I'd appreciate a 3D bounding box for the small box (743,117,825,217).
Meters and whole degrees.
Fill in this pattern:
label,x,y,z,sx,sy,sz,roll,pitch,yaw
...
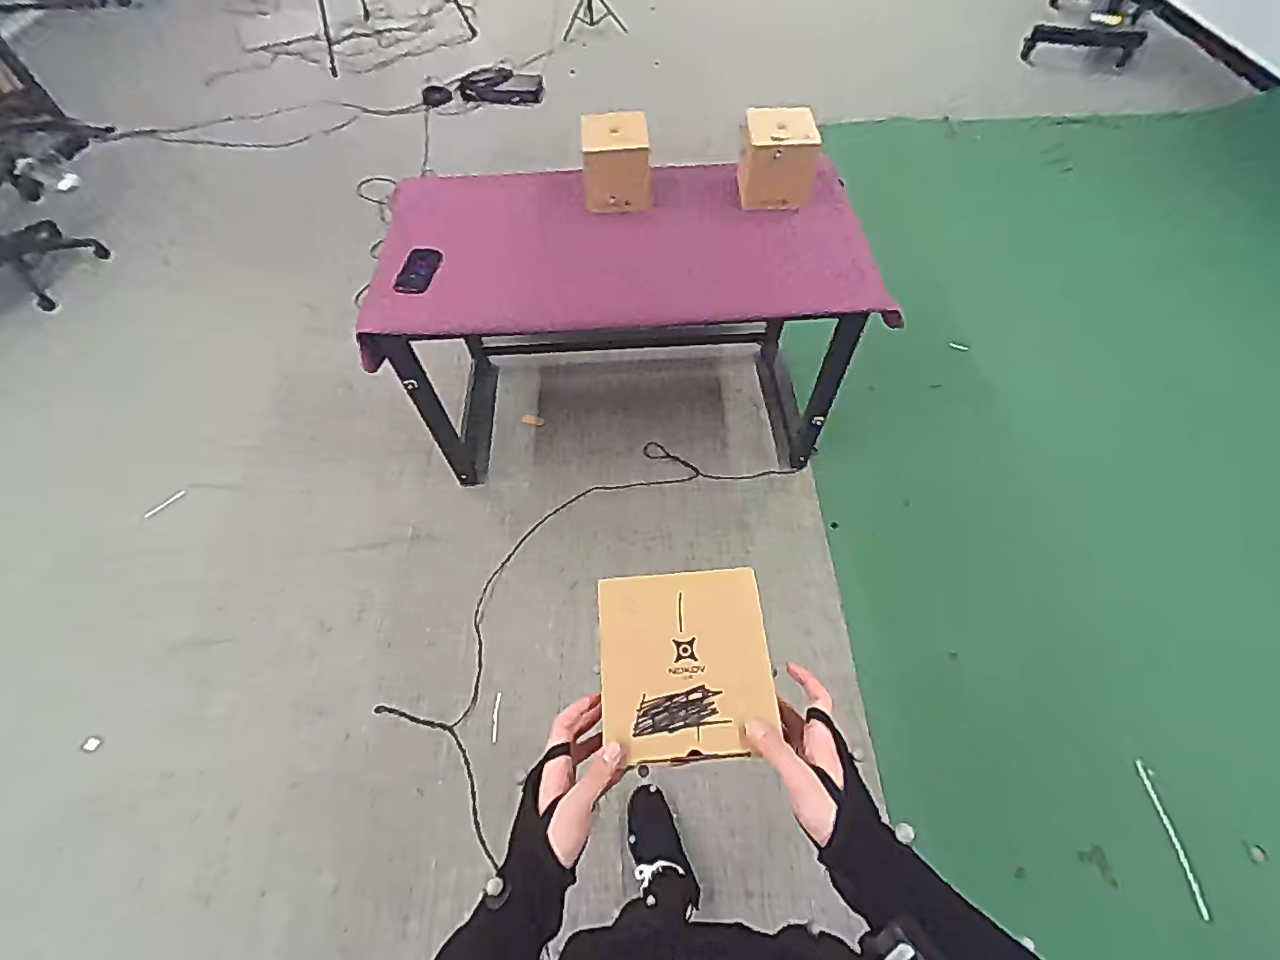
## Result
label,x,y,z,sx,sy,sz,roll,pitch,yaw
small box,0.364,-0.810,1.403,0.168,0.176,0.179,-1,57,2

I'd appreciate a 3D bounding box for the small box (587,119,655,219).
label,x,y,z,sx,sy,sz,roll,pitch,yaw
small box,-0.047,-0.811,1.416,0.168,0.176,0.179,-3,58,0

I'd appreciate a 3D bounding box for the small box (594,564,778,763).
label,x,y,z,sx,sy,sz,roll,pitch,yaw
small box,0.042,0.205,0.591,0.168,0.176,0.179,-4,62,0
